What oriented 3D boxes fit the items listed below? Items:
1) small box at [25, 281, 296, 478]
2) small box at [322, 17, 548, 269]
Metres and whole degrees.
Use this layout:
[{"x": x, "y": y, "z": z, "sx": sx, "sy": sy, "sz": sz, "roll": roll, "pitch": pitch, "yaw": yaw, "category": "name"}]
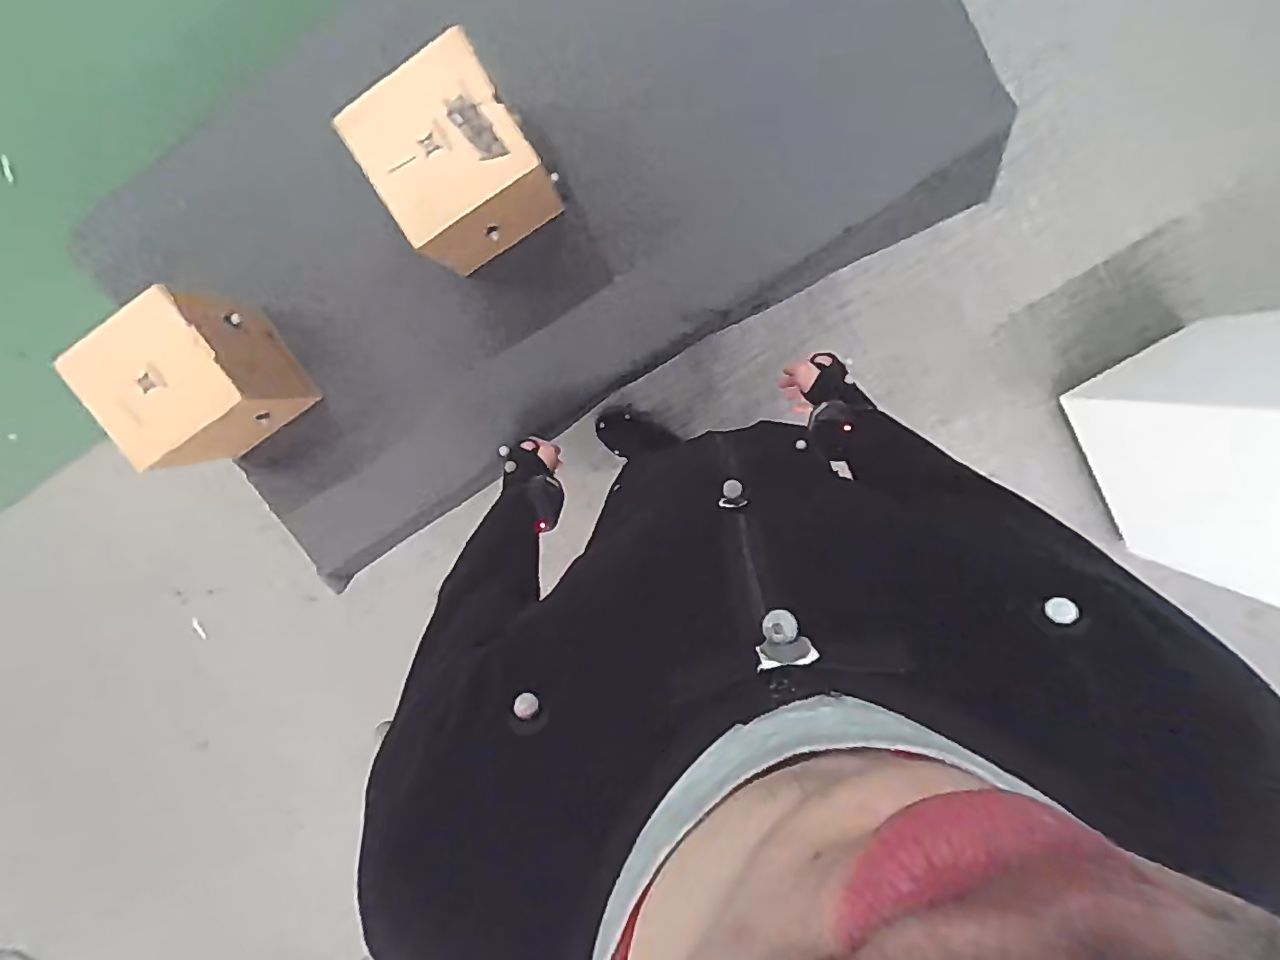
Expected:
[{"x": -0.595, "y": -0.128, "z": 0.705, "sx": 0.179, "sy": 0.176, "sz": 0.168, "roll": -33, "pitch": 97, "yaw": 7, "category": "small box"}, {"x": -0.227, "y": -0.386, "z": 0.658, "sx": 0.179, "sy": 0.176, "sz": 0.168, "roll": -31, "pitch": 98, "yaw": 6, "category": "small box"}]
